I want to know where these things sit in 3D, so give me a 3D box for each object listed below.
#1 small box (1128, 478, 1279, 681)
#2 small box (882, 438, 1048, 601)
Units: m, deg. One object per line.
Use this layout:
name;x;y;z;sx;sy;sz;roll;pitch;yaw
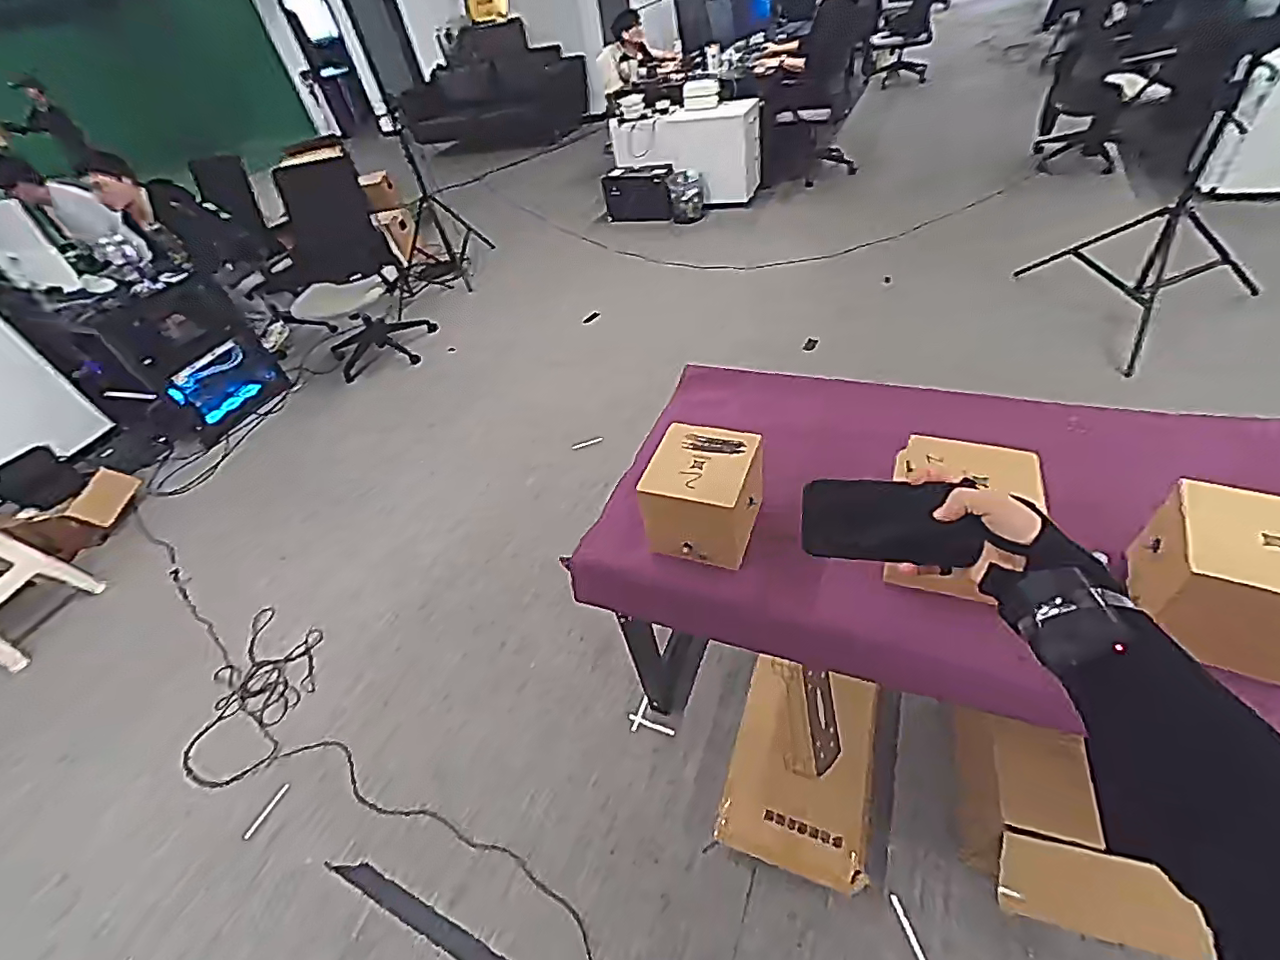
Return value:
small box;0.764;0.127;0.692;0.179;0.176;0.168;16;51;26
small box;0.482;0.061;0.824;0.179;0.176;0.168;9;46;22
